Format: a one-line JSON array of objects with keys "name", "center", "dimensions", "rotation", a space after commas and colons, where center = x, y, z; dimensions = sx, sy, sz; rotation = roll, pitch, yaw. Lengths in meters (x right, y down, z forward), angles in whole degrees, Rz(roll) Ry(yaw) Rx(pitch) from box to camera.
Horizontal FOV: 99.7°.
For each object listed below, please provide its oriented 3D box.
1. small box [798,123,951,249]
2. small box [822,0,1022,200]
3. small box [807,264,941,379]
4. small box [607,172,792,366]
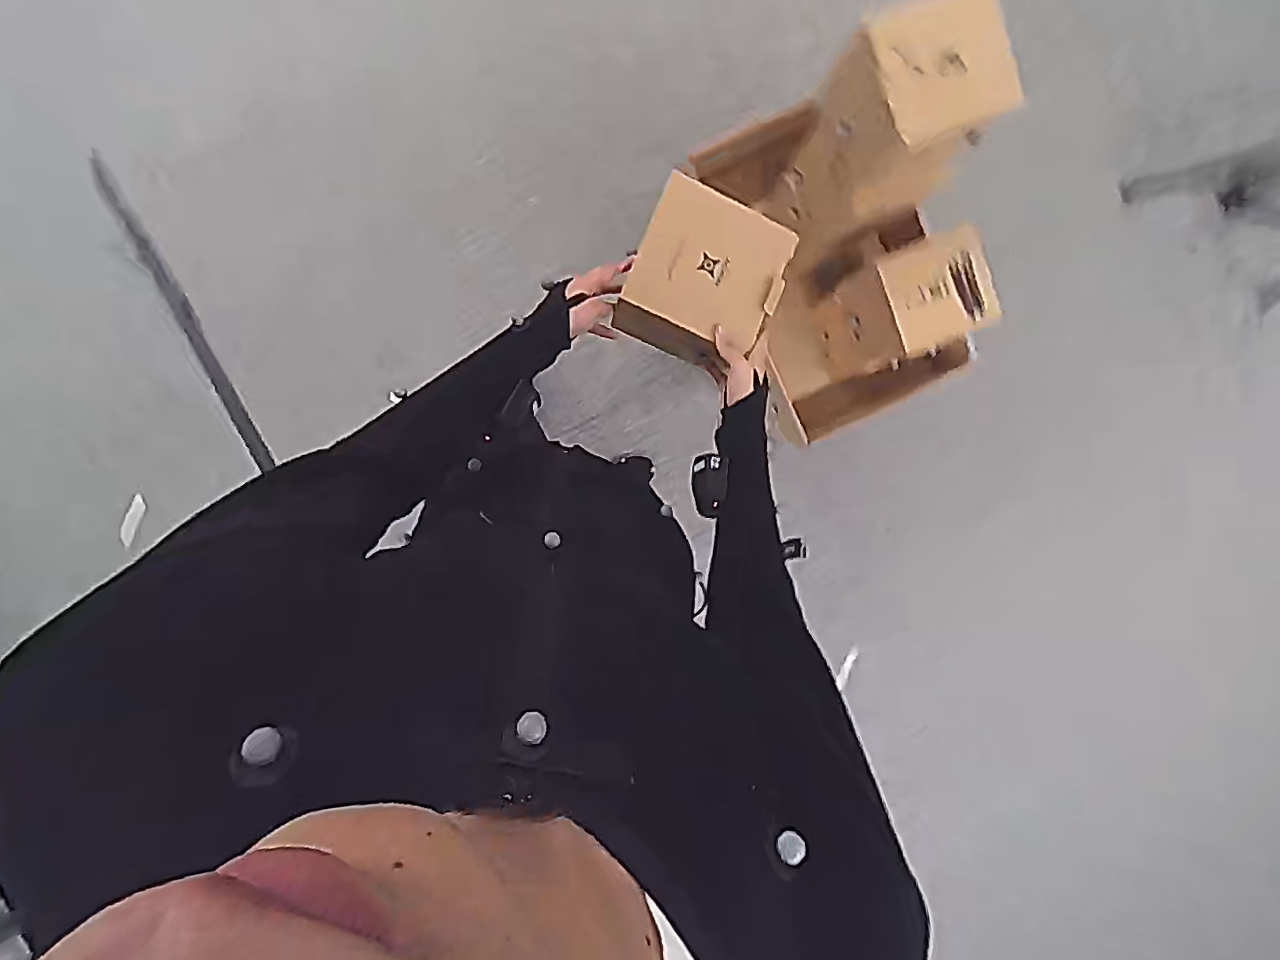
[{"name": "small box", "center": [0.395, -0.531, 0.948], "dimensions": [0.179, 0.176, 0.168], "rotation": [-21, 98, -2]}, {"name": "small box", "center": [0.394, -0.540, 0.781], "dimensions": [0.179, 0.176, 0.168], "rotation": [-20, 97, -1]}, {"name": "small box", "center": [0.485, -0.326, 1.142], "dimensions": [0.179, 0.176, 0.168], "rotation": [-23, 96, -1]}, {"name": "small box", "center": [0.068, -0.265, 0.730], "dimensions": [0.179, 0.176, 0.168], "rotation": [22, 90, -9]}]
